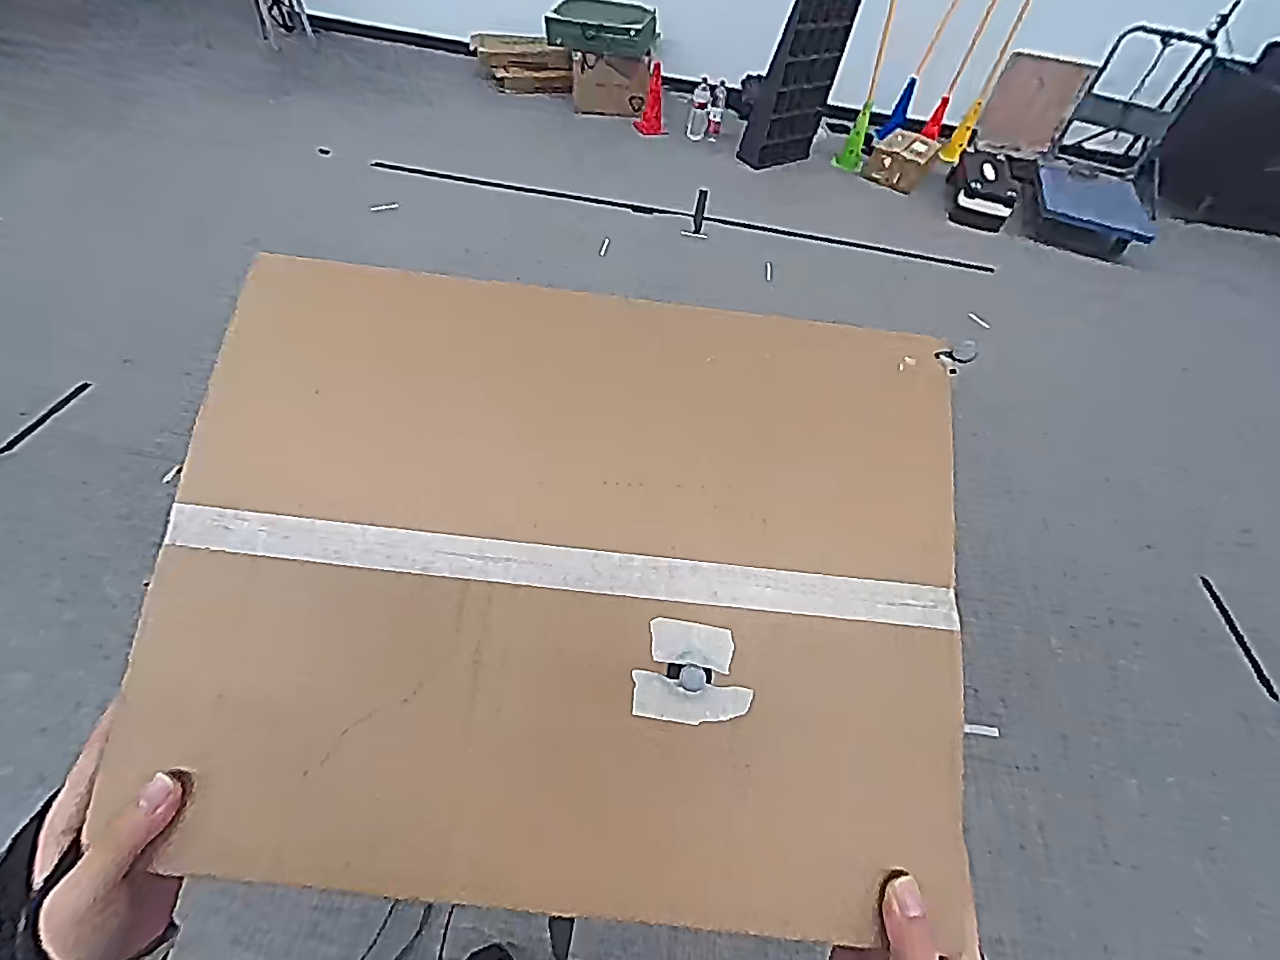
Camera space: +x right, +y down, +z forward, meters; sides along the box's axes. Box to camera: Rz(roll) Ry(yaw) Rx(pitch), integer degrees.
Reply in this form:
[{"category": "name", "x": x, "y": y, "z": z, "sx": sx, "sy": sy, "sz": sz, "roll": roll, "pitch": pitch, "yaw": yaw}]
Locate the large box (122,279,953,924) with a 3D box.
[{"category": "large box", "x": -0.039, "y": 0.081, "z": 0.434, "sx": 0.408, "sy": 0.320, "sz": 0.320, "roll": 7, "pitch": 78, "yaw": -2}]
